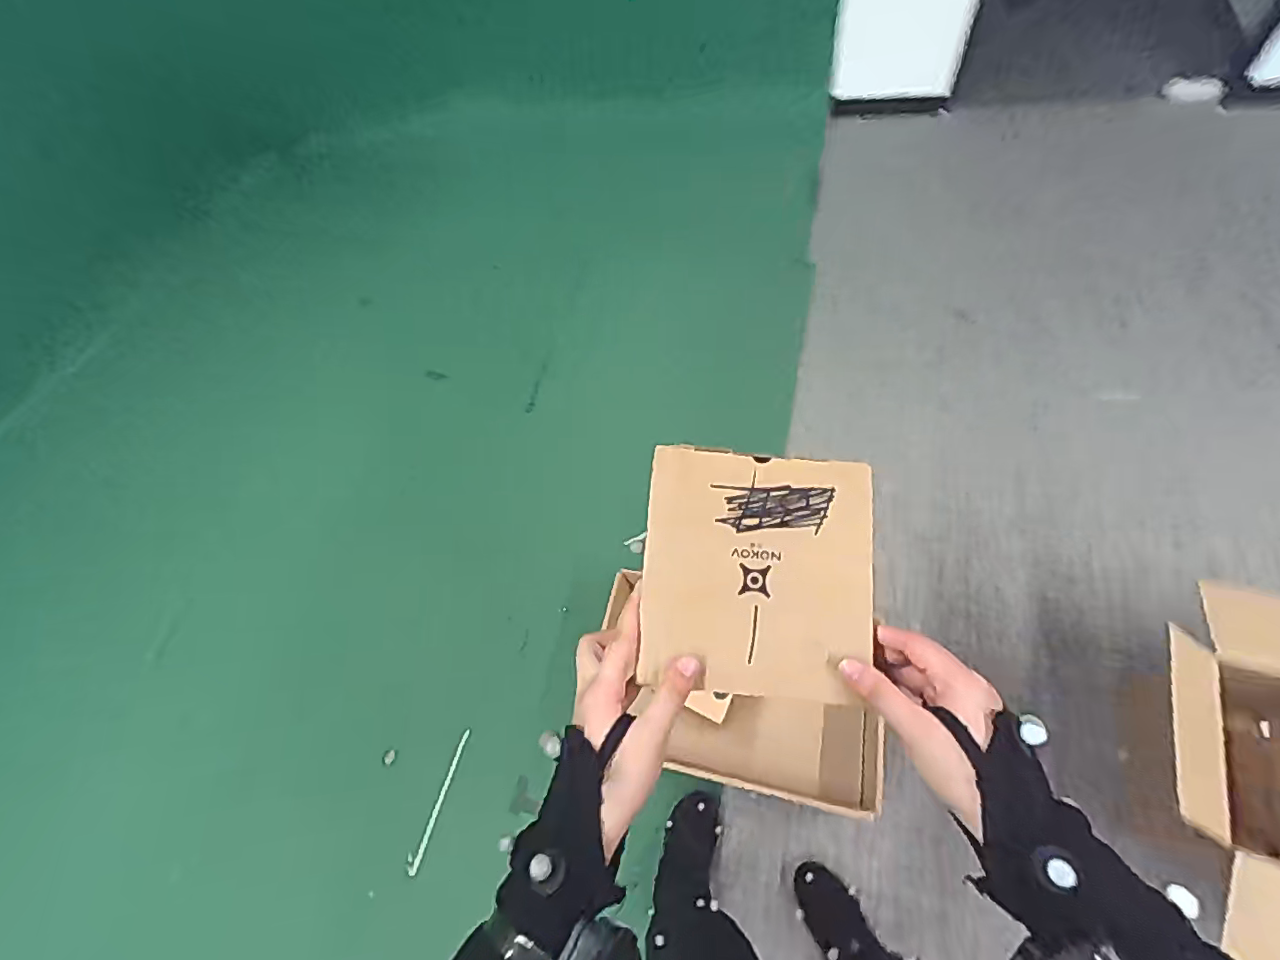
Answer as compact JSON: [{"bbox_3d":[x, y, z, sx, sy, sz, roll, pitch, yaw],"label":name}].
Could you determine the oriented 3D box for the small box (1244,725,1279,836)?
[{"bbox_3d":[1.133,0.502,0.862,0.179,0.176,0.168,12,65,16],"label":"small box"}]

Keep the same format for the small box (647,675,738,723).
[{"bbox_3d":[0.137,0.440,1.241,0.179,0.176,0.168,21,65,20],"label":"small box"}]

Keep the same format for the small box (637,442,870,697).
[{"bbox_3d":[0.086,0.080,0.474,0.168,0.176,0.179,5,76,2],"label":"small box"}]
